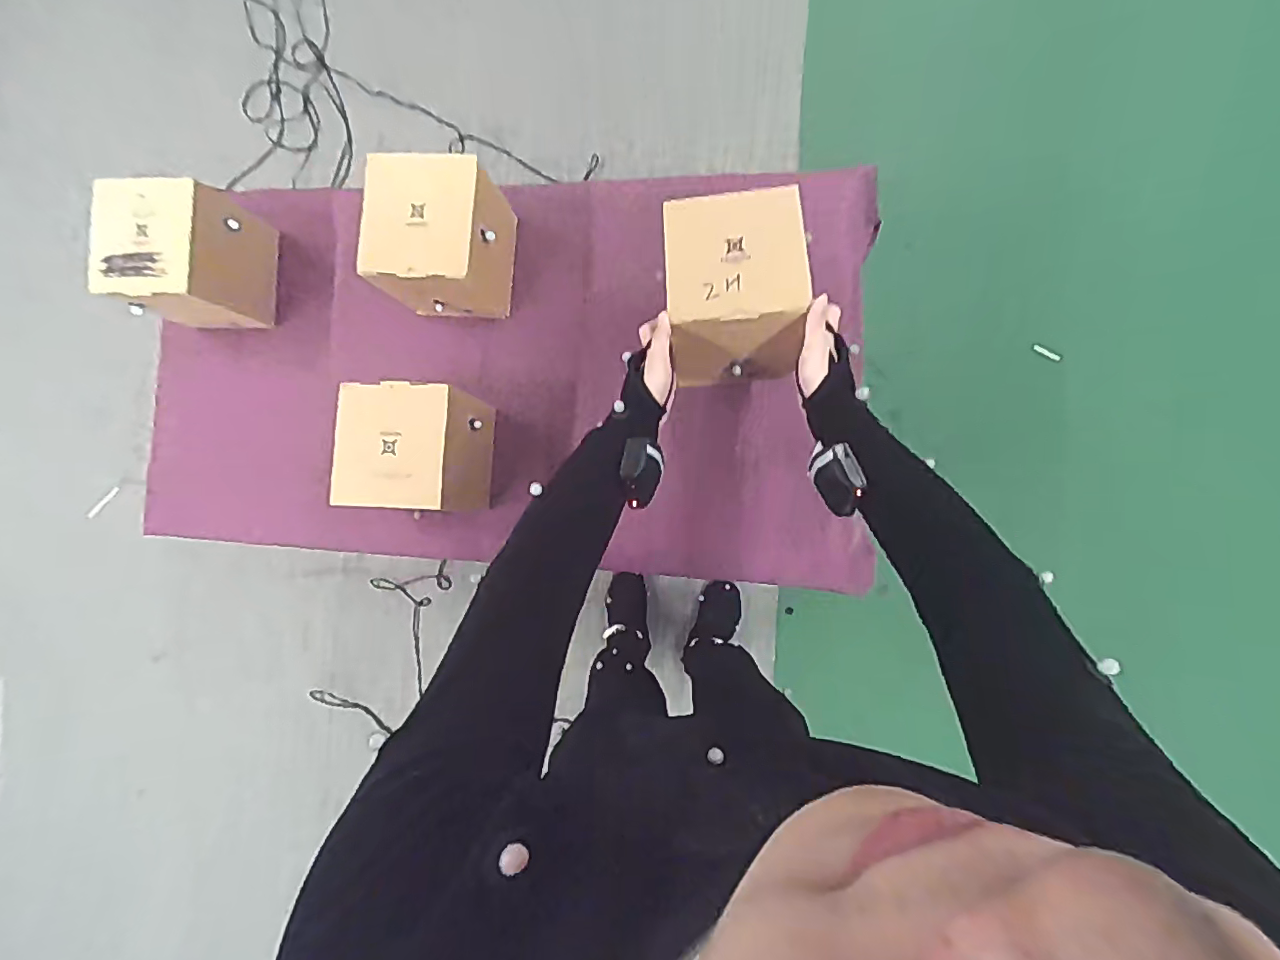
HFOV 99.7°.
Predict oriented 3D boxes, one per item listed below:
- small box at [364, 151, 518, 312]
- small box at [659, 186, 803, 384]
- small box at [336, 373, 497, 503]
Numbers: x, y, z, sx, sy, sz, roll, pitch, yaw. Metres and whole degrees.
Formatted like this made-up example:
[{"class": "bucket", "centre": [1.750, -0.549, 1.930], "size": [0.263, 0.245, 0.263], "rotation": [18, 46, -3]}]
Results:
[{"class": "small box", "centre": [-0.301, -0.382, 0.852], "size": [0.168, 0.176, 0.179], "rotation": [5, 90, 7]}, {"class": "small box", "centre": [0.118, -0.248, 0.716], "size": [0.168, 0.176, 0.179], "rotation": [-3, 72, 10]}, {"class": "small box", "centre": [-0.336, -0.057, 0.843], "size": [0.168, 0.176, 0.179], "rotation": [3, 87, 9]}]
